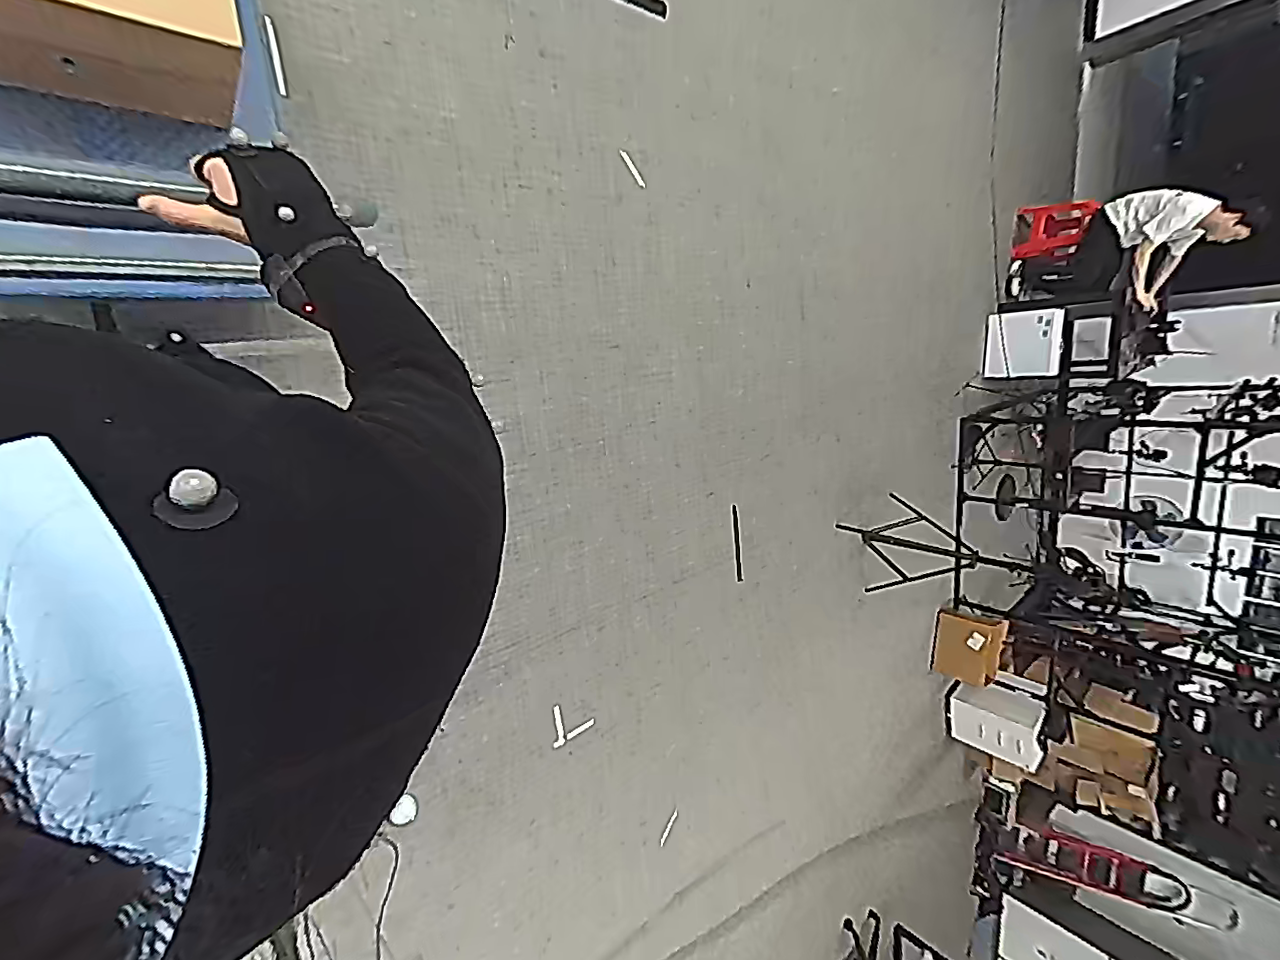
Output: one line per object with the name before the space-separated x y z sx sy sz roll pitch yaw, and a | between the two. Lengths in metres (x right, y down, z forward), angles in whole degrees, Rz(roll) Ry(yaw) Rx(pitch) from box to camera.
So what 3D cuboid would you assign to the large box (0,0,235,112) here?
large box | -0.848 -0.777 0.753 0.408 0.320 0.320 -13 104 -38
